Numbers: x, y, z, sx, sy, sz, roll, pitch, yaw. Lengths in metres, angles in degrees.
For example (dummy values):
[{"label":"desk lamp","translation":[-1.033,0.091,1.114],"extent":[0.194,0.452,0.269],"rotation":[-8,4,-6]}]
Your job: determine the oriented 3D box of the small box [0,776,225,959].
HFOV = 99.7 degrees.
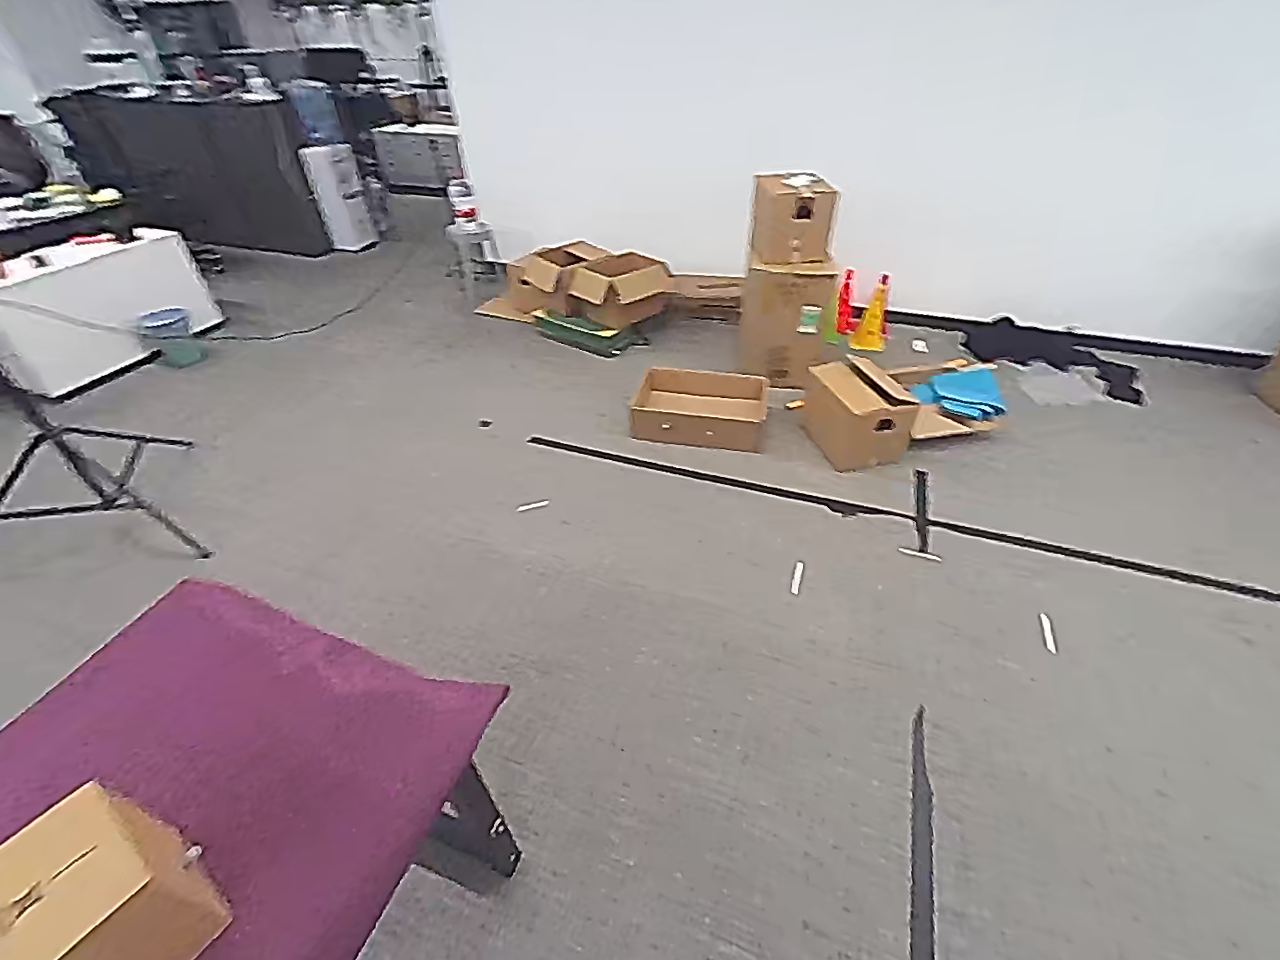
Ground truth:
[{"label":"small box","translation":[-0.602,0.470,0.573],"extent":[0.168,0.176,0.179],"rotation":[23,45,27]}]
